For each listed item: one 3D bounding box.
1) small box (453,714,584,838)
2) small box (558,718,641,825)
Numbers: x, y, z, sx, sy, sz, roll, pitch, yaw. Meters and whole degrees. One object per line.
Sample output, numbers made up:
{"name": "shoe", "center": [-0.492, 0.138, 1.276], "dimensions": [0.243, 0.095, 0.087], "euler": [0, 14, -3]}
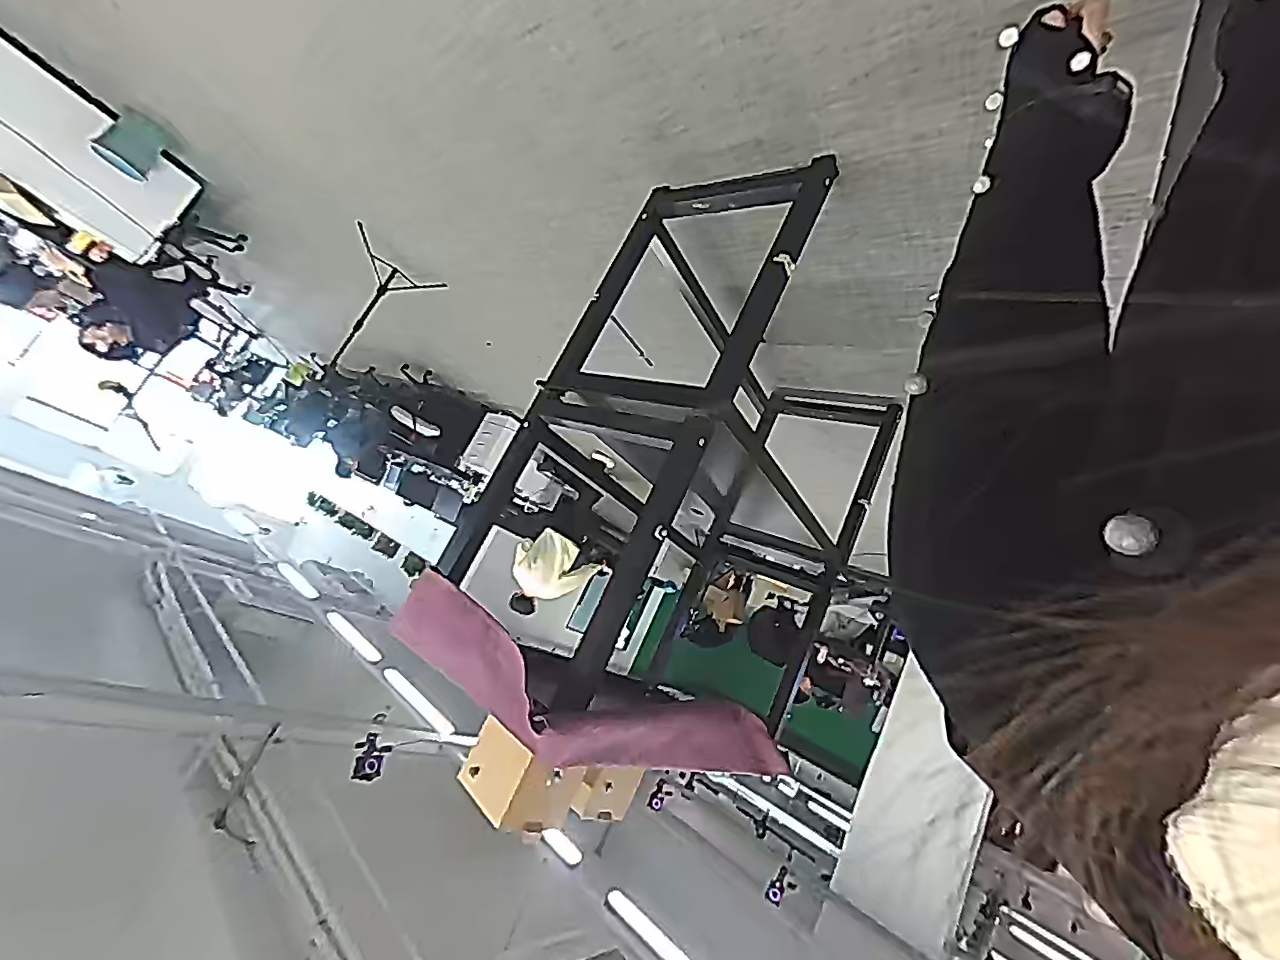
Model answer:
{"name": "small box", "center": [-0.245, 0.601, 1.116], "dimensions": [0.179, 0.176, 0.168], "euler": [13, 163, 46]}
{"name": "small box", "center": [-0.119, 0.709, 1.321], "dimensions": [0.179, 0.176, 0.168], "euler": [14, 163, 43]}
